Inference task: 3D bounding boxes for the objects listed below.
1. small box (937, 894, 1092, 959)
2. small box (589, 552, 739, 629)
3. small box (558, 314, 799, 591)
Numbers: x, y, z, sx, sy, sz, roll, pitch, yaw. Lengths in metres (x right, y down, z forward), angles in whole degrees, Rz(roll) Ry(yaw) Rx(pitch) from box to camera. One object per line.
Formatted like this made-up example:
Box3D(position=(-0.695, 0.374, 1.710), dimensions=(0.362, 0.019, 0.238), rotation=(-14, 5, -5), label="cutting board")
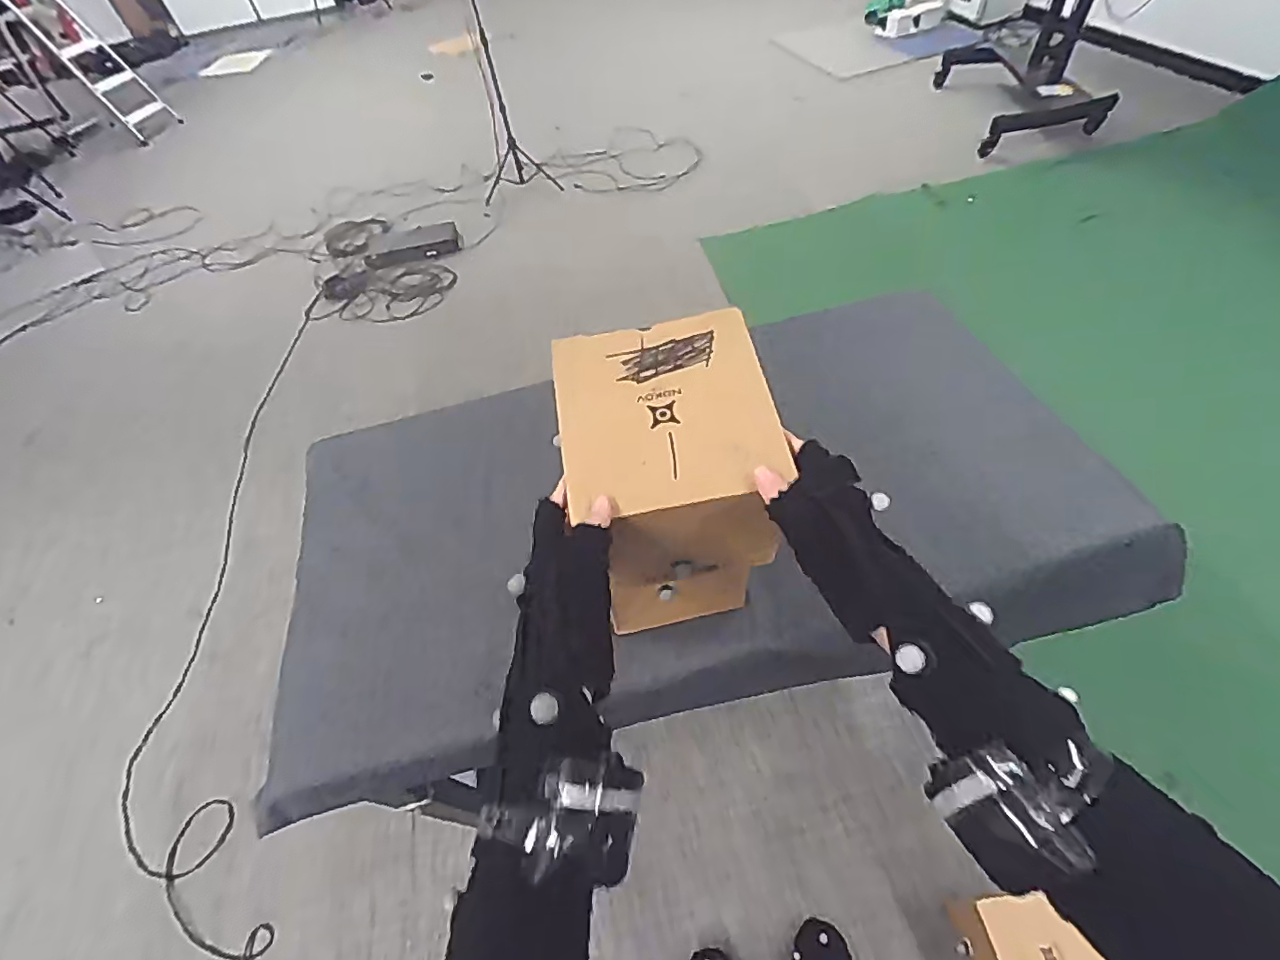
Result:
Box3D(position=(0.671, 0.848, 0.962), dimensions=(0.179, 0.176, 0.168), rotation=(-9, 51, 2), label="small box")
Box3D(position=(0.028, 0.077, 0.709), dimensions=(0.179, 0.176, 0.168), rotation=(-12, 52, -2), label="small box")
Box3D(position=(0.026, -0.016, 0.486), dimensions=(0.168, 0.176, 0.179), rotation=(-9, 62, 0), label="small box")
